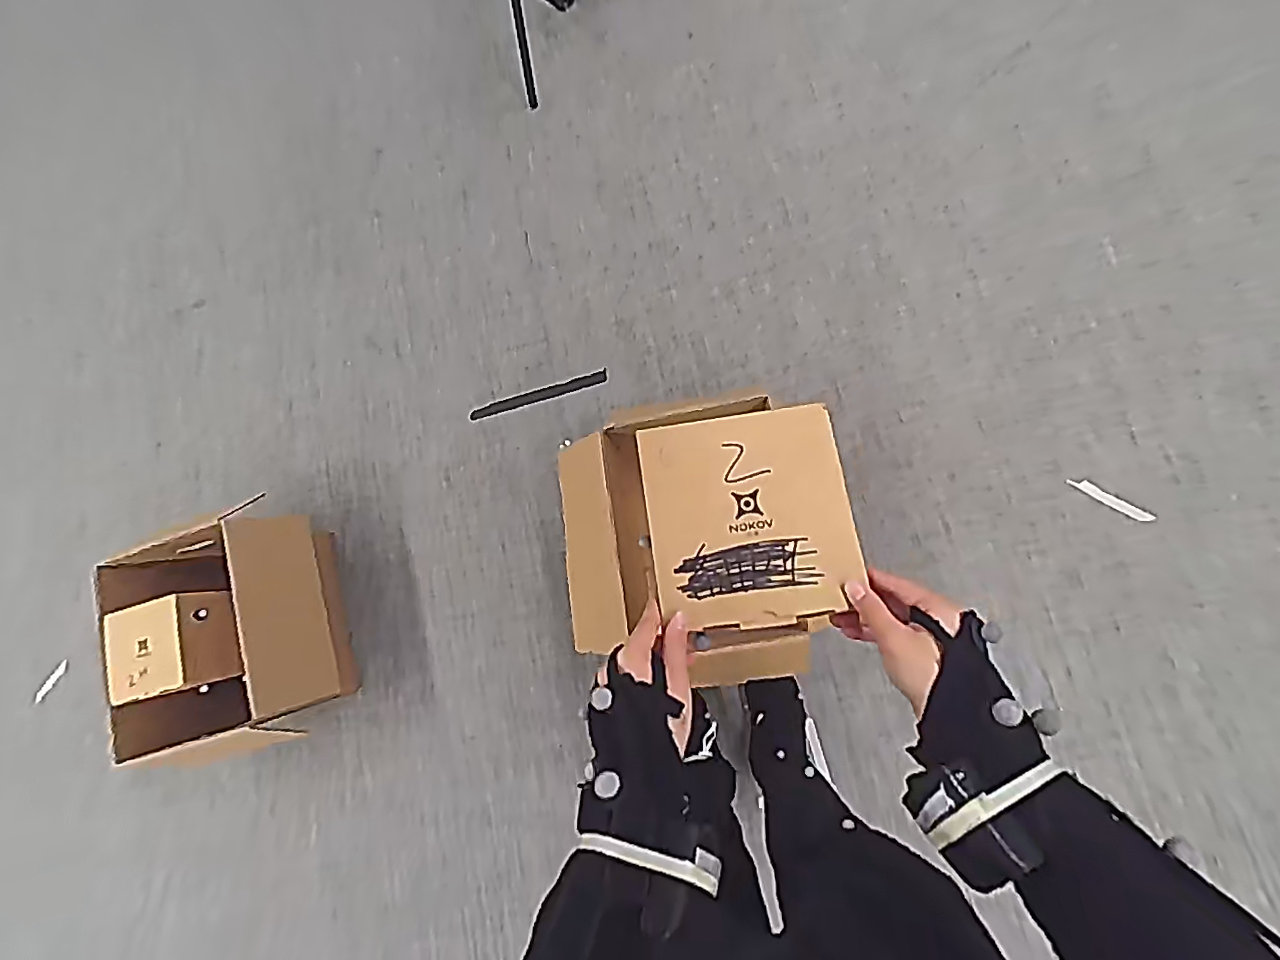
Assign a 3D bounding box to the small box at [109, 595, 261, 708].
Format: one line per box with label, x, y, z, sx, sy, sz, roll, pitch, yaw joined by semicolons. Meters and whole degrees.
small box;-0.918;0.339;1.102;0.168;0.176;0.179;-17;79;7
